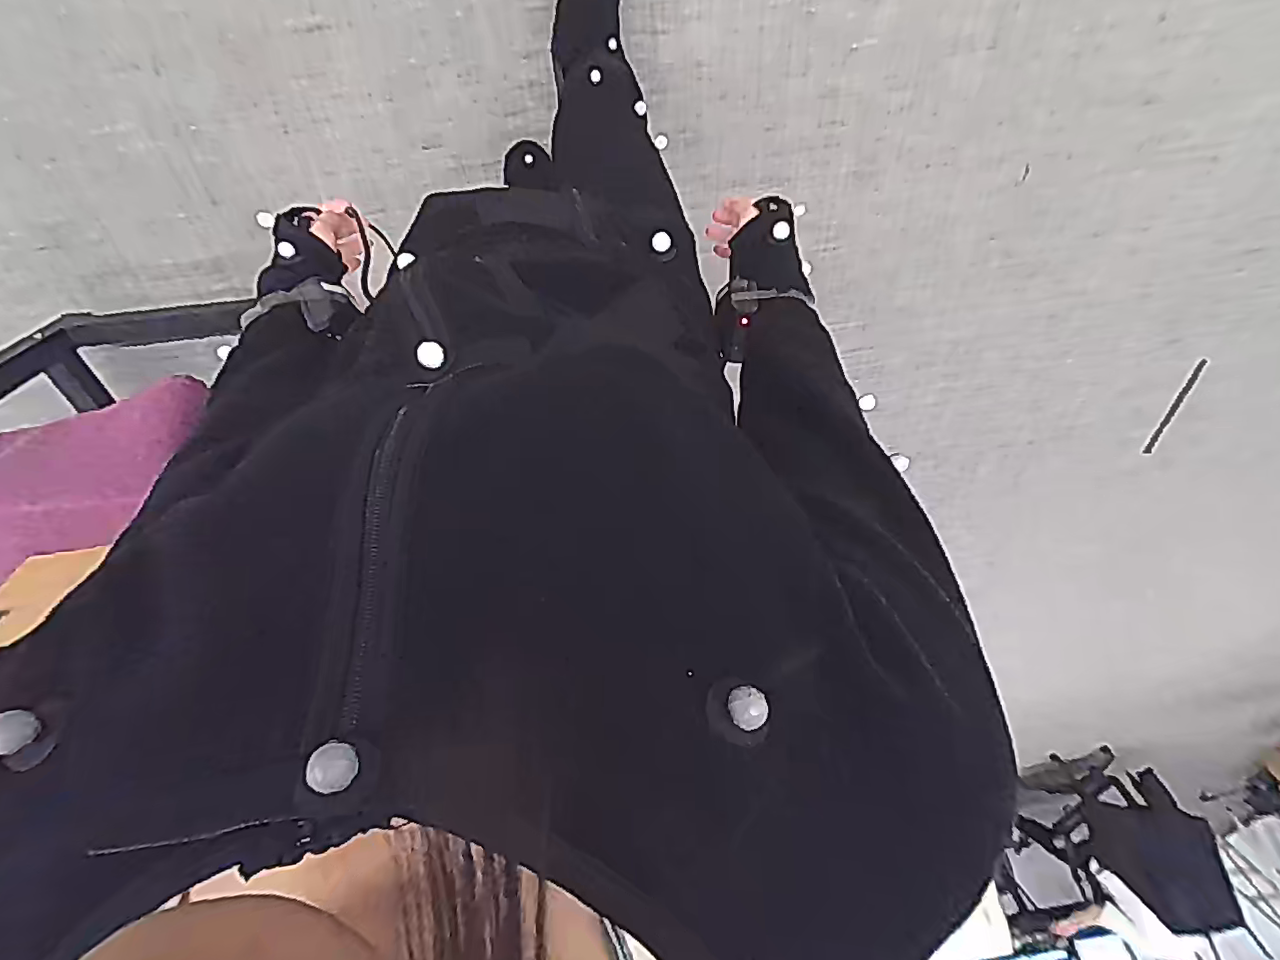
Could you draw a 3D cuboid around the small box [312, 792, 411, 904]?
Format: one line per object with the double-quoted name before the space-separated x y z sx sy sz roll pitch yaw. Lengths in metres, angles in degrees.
"small box" -0.640 0.835 1.236 0.179 0.176 0.168 -6 129 -3
